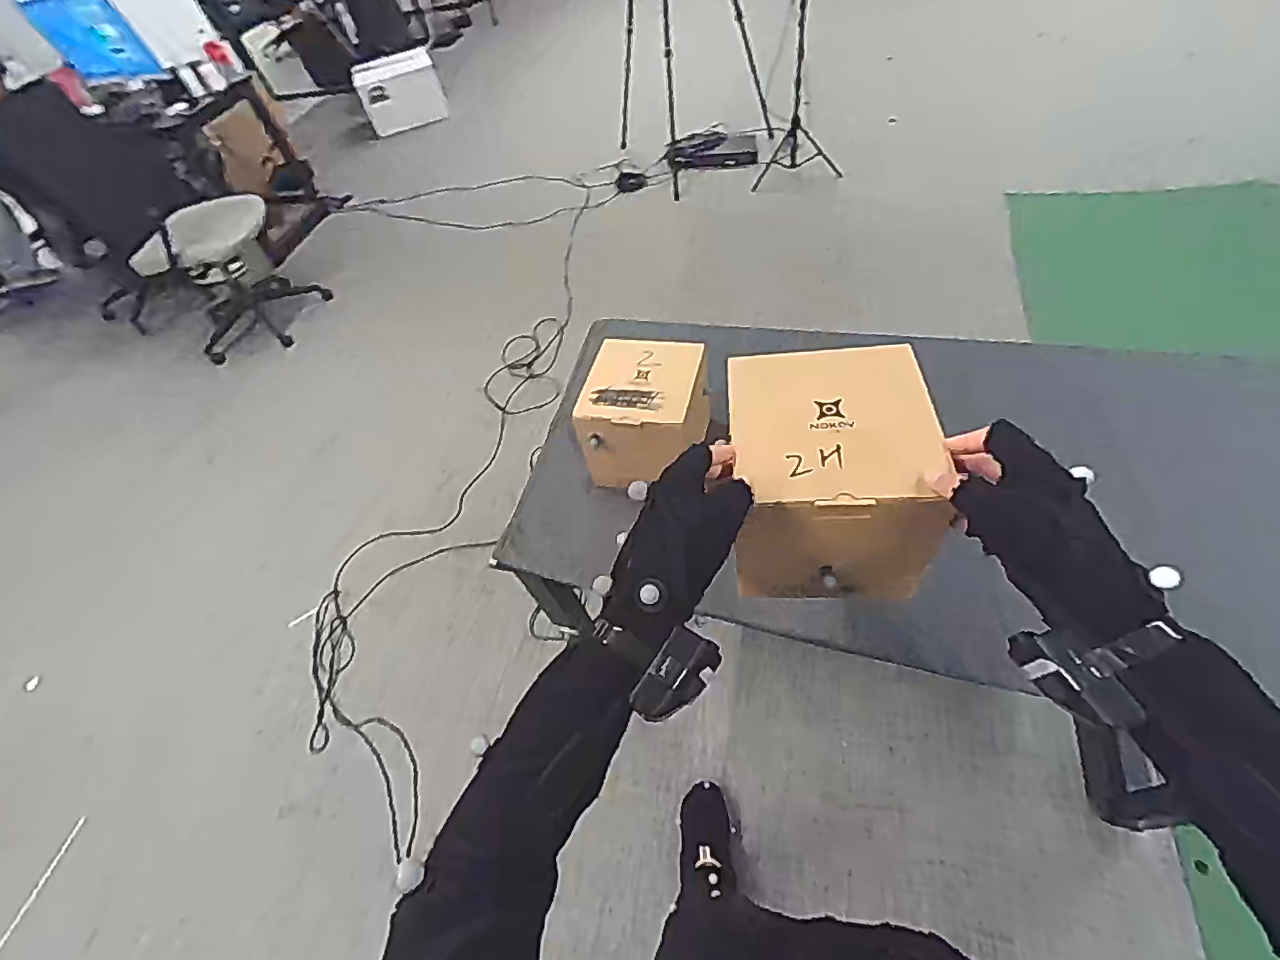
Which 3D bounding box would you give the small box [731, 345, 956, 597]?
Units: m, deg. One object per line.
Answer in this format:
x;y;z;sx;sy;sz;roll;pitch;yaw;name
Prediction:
0.172;-0.005;0.522;0.168;0.176;0.179;-2;53;11;small box
